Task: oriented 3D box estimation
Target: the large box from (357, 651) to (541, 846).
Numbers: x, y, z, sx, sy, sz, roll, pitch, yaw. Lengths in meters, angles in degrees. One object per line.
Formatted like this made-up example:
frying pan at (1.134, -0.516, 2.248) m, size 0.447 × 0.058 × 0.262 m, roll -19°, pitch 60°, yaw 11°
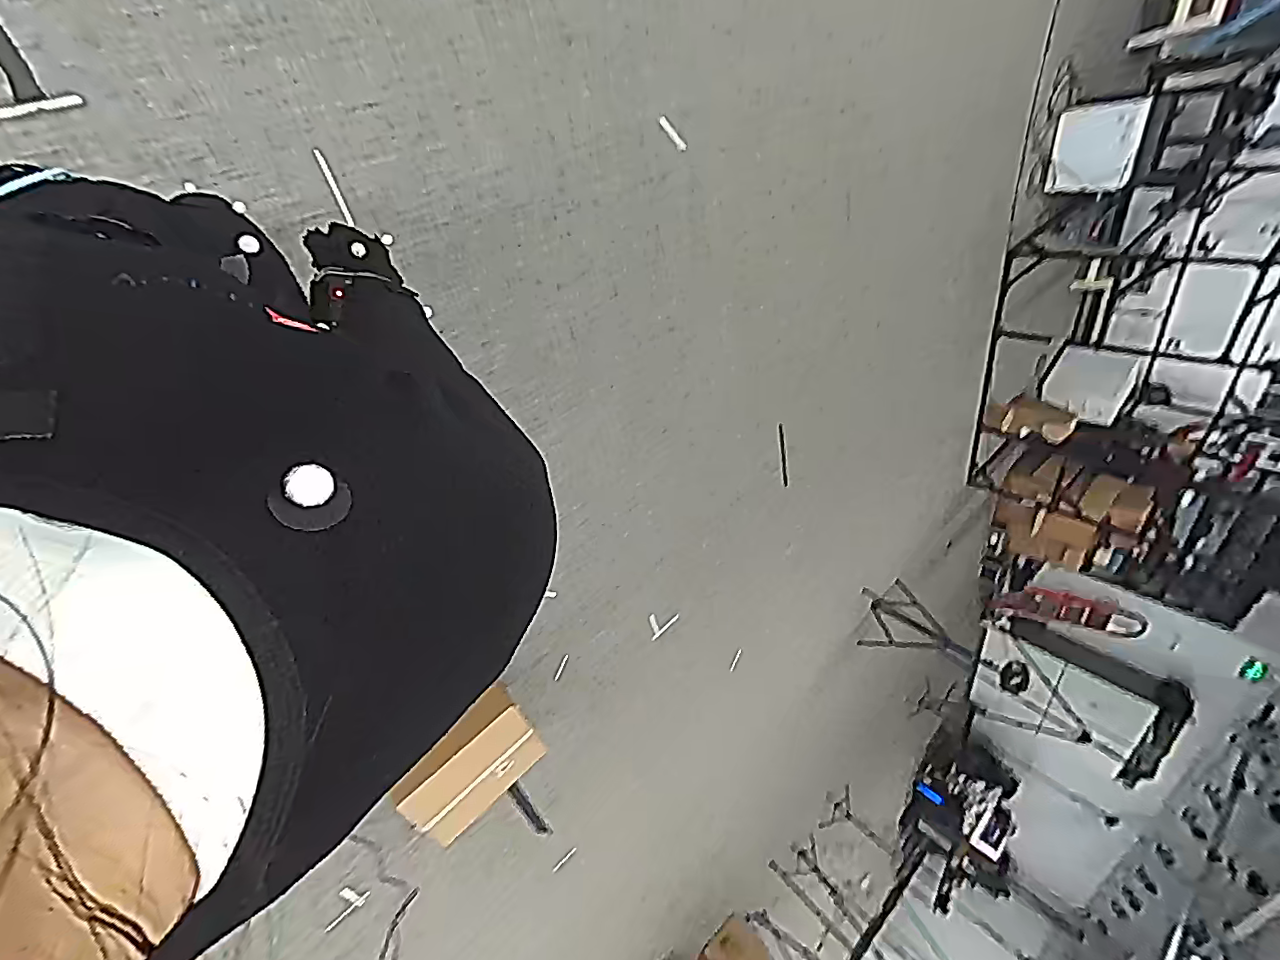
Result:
large box at (-0.606, 0.847, 1.741) m, size 0.408 × 0.320 × 0.320 m, roll -38°, pitch 133°, yaw -25°
